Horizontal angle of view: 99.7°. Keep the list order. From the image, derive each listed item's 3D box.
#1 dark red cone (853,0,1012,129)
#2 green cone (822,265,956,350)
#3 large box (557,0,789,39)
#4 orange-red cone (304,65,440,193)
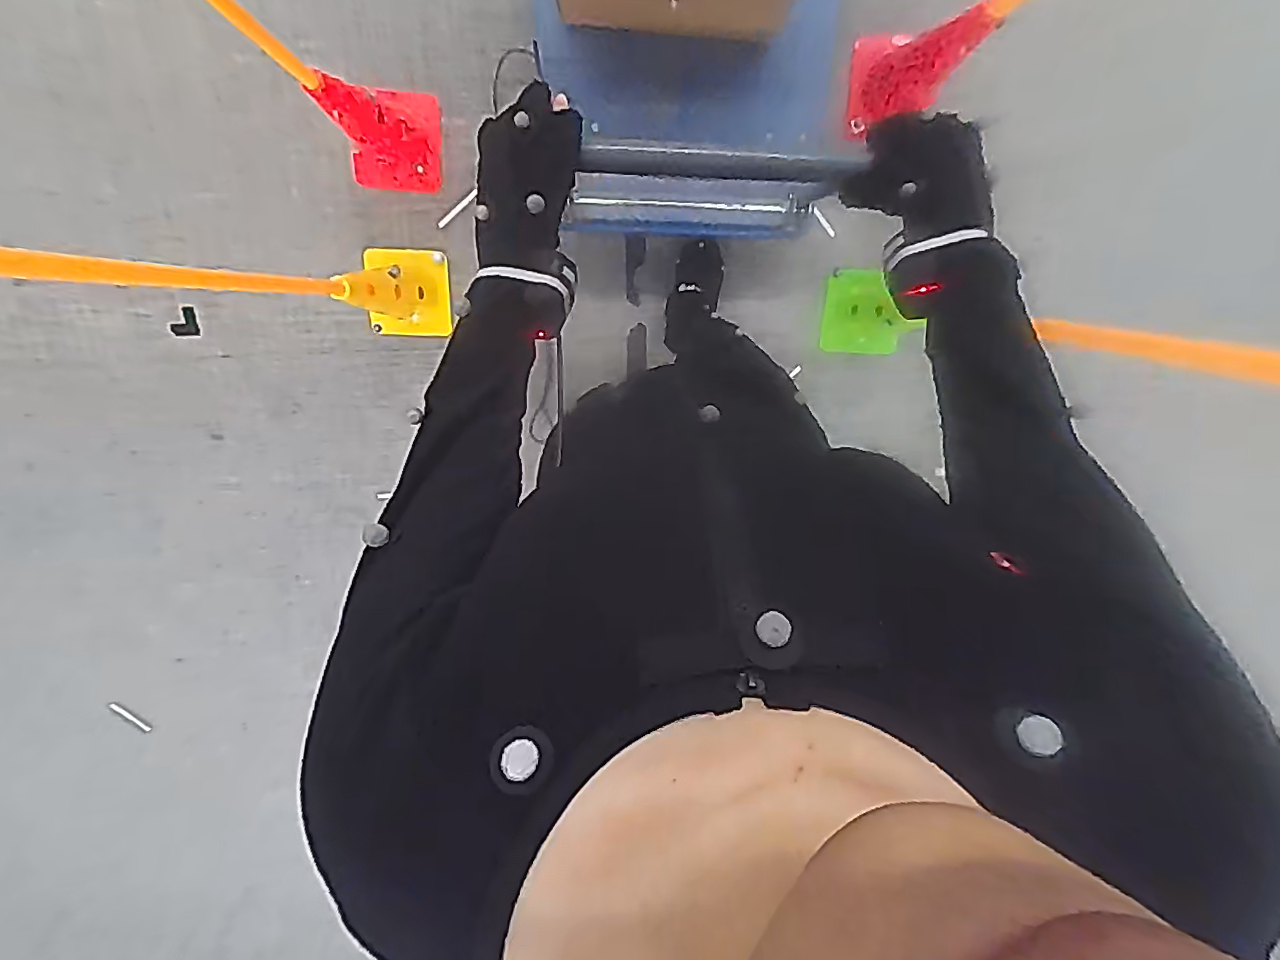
[{"bbox_3d":[0.578,-0.839,1.036,0.201,0.394,0.202,-3,108,-2],"label":"dark red cone"},{"bbox_3d":[0.571,-0.382,1.199,0.202,0.368,0.200,1,108,-3],"label":"green cone"},{"bbox_3d":[0.061,-0.954,0.857,0.408,0.320,0.320,3,108,-2],"label":"large box"},{"bbox_3d":[-0.550,-0.724,1.069,0.198,0.360,0.199,5,106,-4],"label":"orange-red cone"}]
